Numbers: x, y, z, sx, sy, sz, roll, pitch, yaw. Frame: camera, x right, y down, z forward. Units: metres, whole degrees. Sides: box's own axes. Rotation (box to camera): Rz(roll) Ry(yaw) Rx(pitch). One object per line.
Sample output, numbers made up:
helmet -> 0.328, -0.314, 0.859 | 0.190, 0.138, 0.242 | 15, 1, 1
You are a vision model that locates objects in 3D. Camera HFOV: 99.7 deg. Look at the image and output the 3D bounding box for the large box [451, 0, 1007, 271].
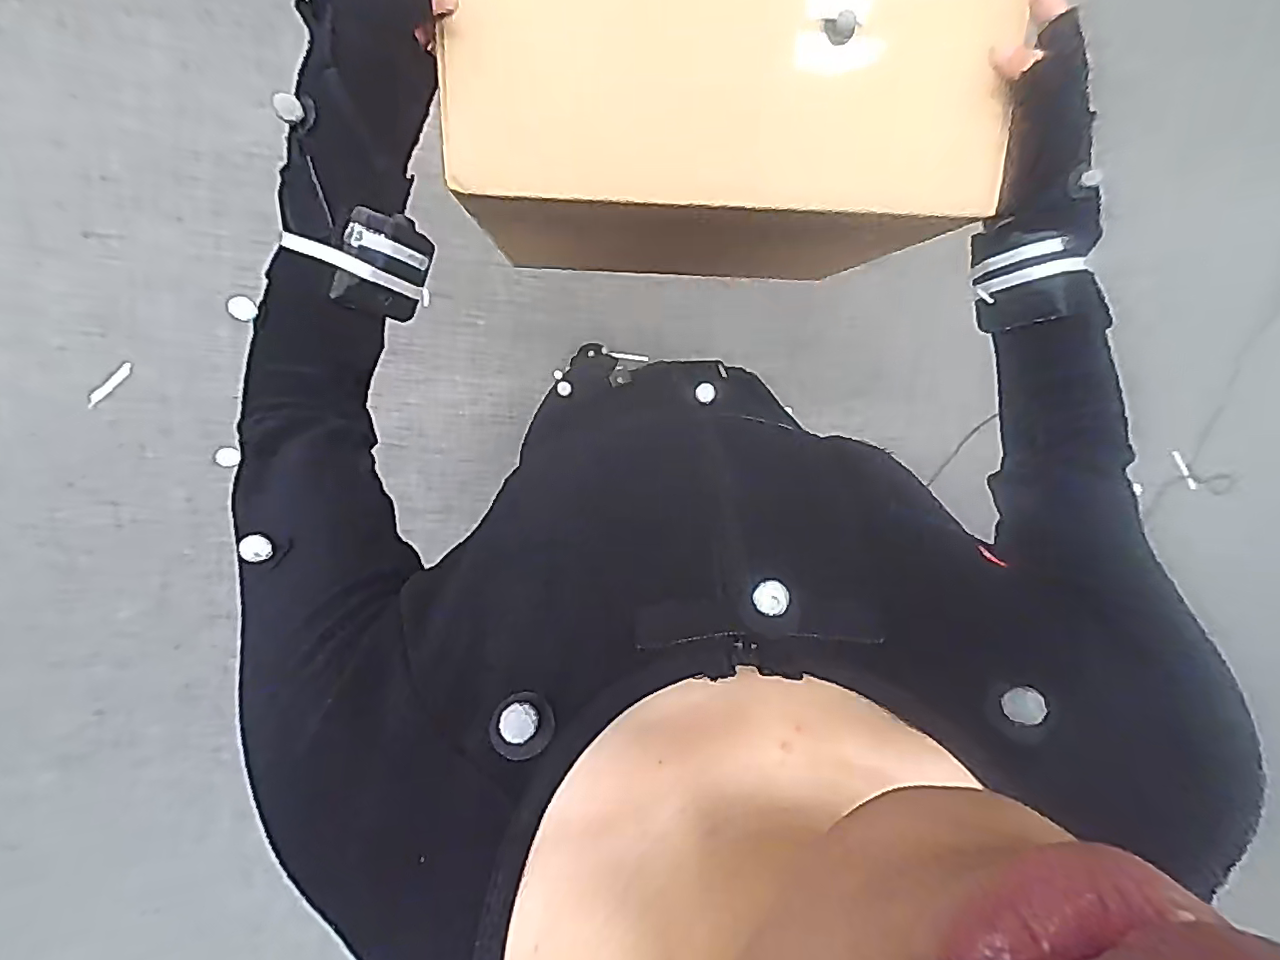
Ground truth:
large box -> 0.053, -0.390, 0.518 | 0.408, 0.320, 0.320 | -1, 102, -6
